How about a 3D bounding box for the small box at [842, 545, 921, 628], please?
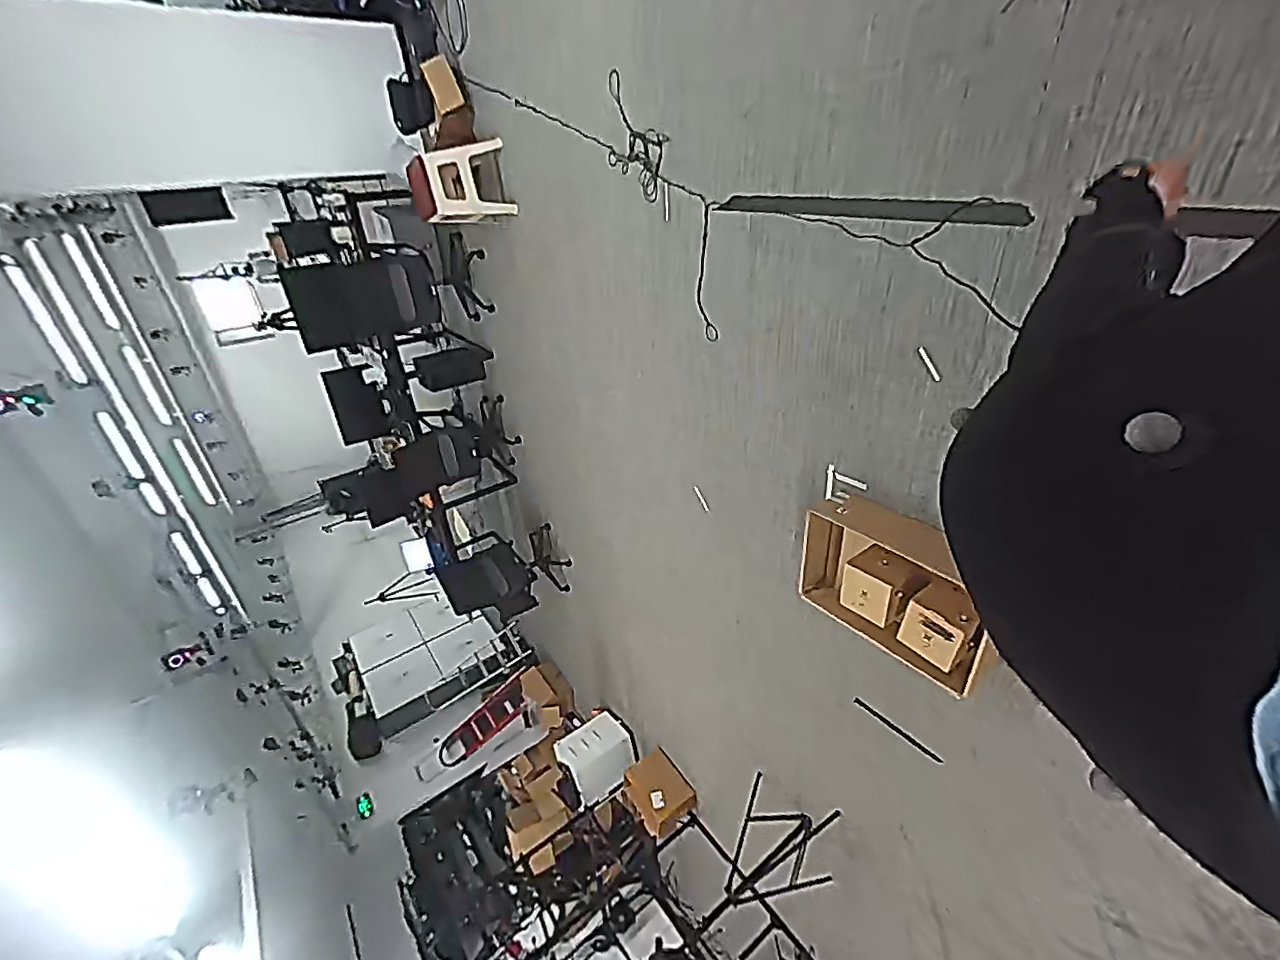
[{"bbox_3d":[0.795,0.342,1.780,0.168,0.176,0.179,31,134,47],"label":"small box"}]
